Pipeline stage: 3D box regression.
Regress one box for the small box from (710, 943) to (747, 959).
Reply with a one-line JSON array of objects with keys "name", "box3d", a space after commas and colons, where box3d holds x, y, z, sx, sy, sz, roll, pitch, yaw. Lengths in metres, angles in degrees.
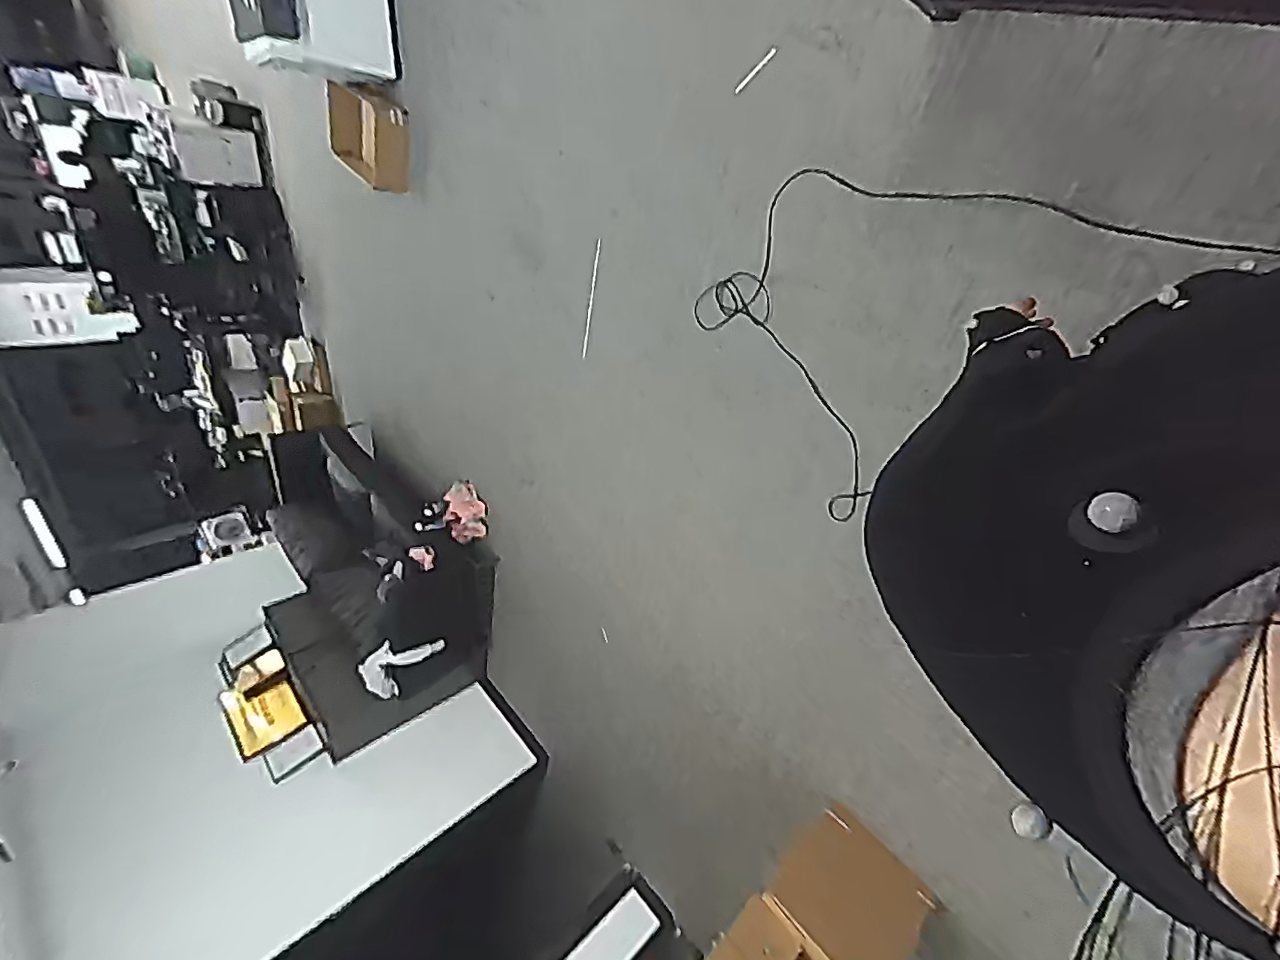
[{"name": "small box", "box3d": [0.254, 1.506, 1.572, 0.179, 0.176, 0.168, 37, 129, 31]}]
